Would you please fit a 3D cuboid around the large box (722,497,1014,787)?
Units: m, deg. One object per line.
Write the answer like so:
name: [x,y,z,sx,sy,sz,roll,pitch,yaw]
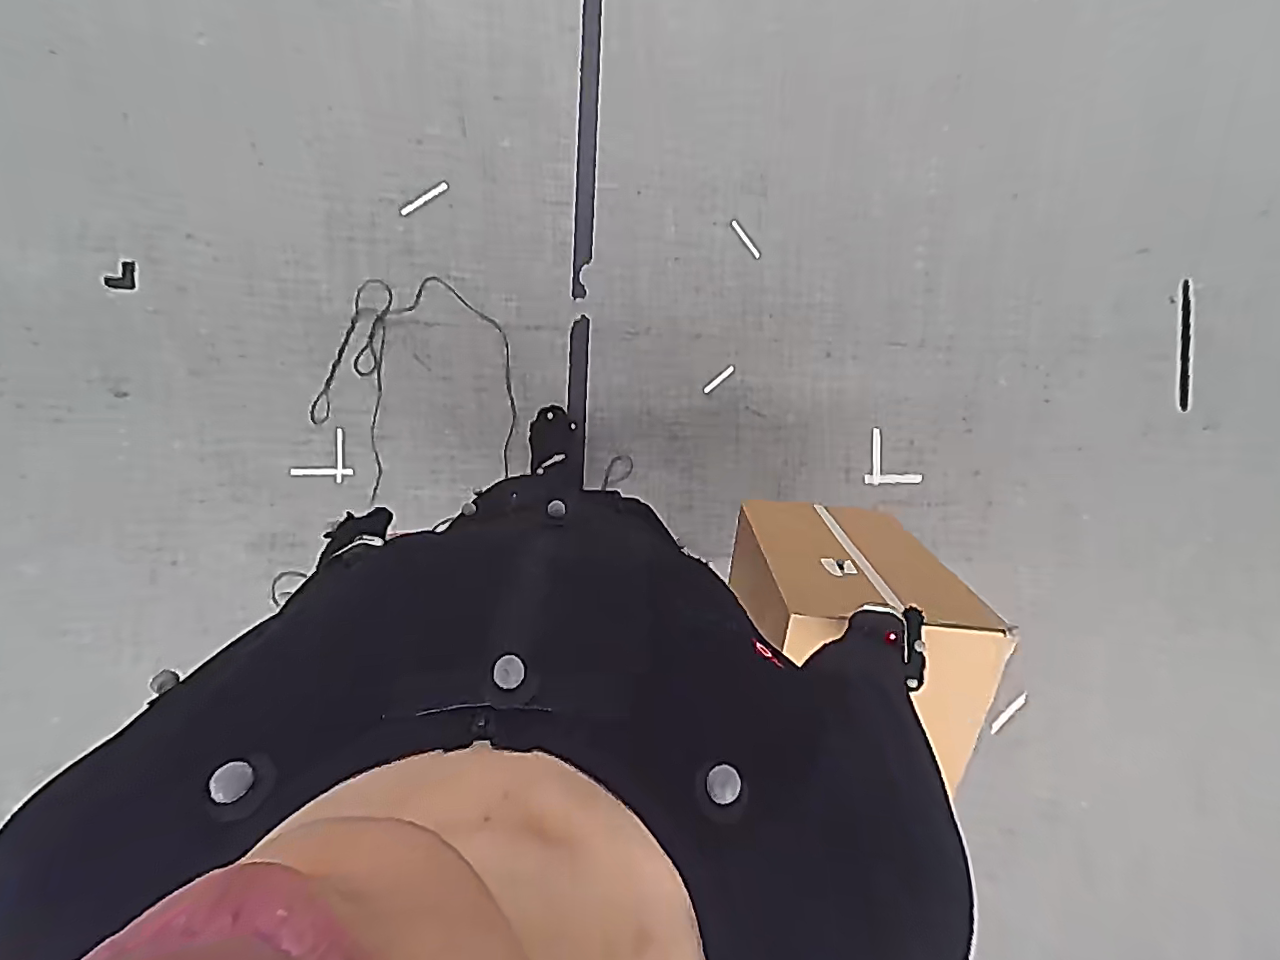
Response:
large box: [0.348,0.260,0.974,0.320,0.408,0.320,5,111,-1]
